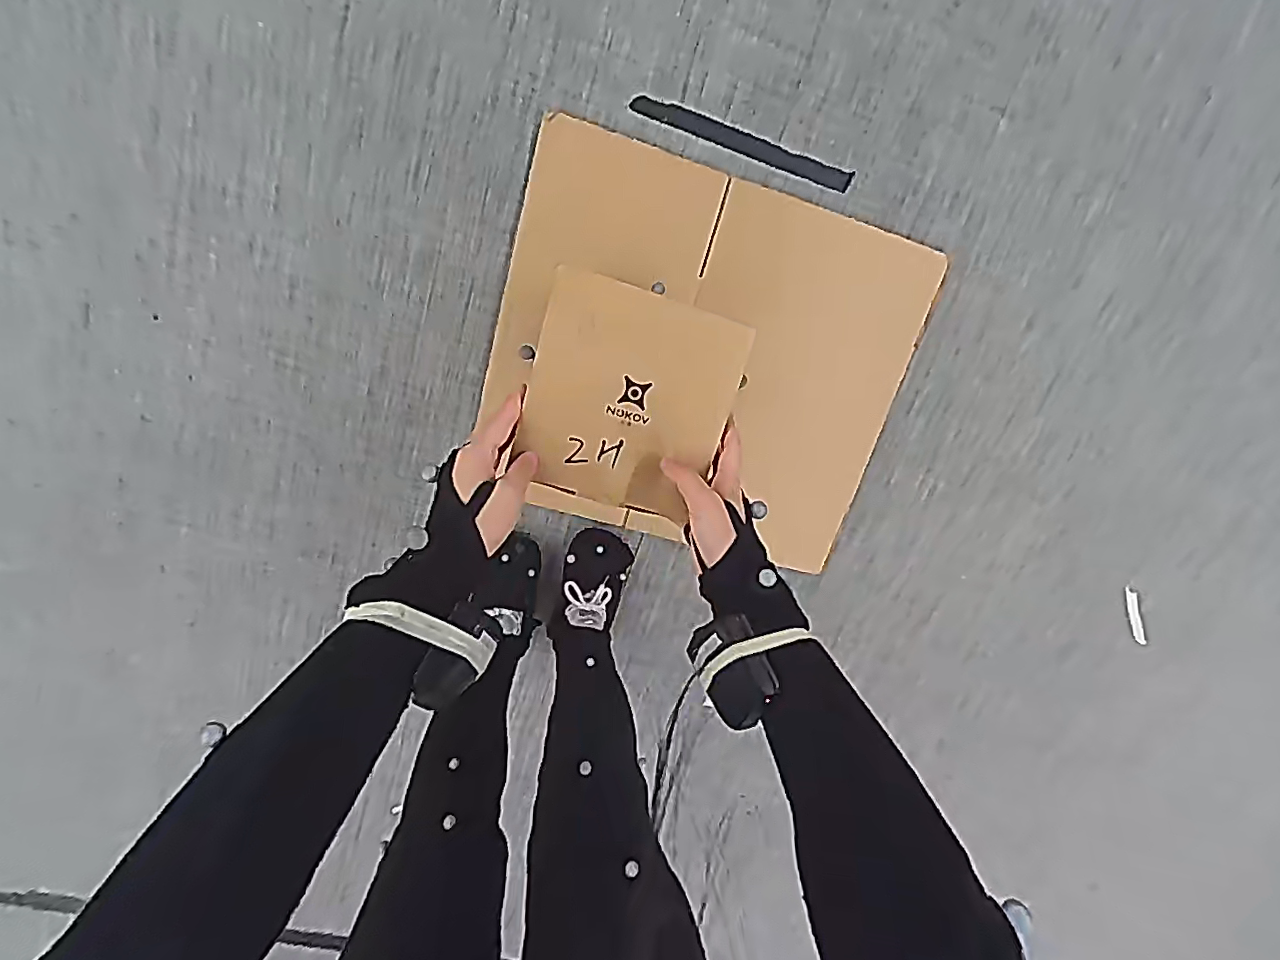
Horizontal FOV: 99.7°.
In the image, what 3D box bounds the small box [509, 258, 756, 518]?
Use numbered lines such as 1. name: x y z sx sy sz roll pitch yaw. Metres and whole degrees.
1. small box: -0.016 -0.089 0.514 0.168 0.176 0.179 15 105 -10
